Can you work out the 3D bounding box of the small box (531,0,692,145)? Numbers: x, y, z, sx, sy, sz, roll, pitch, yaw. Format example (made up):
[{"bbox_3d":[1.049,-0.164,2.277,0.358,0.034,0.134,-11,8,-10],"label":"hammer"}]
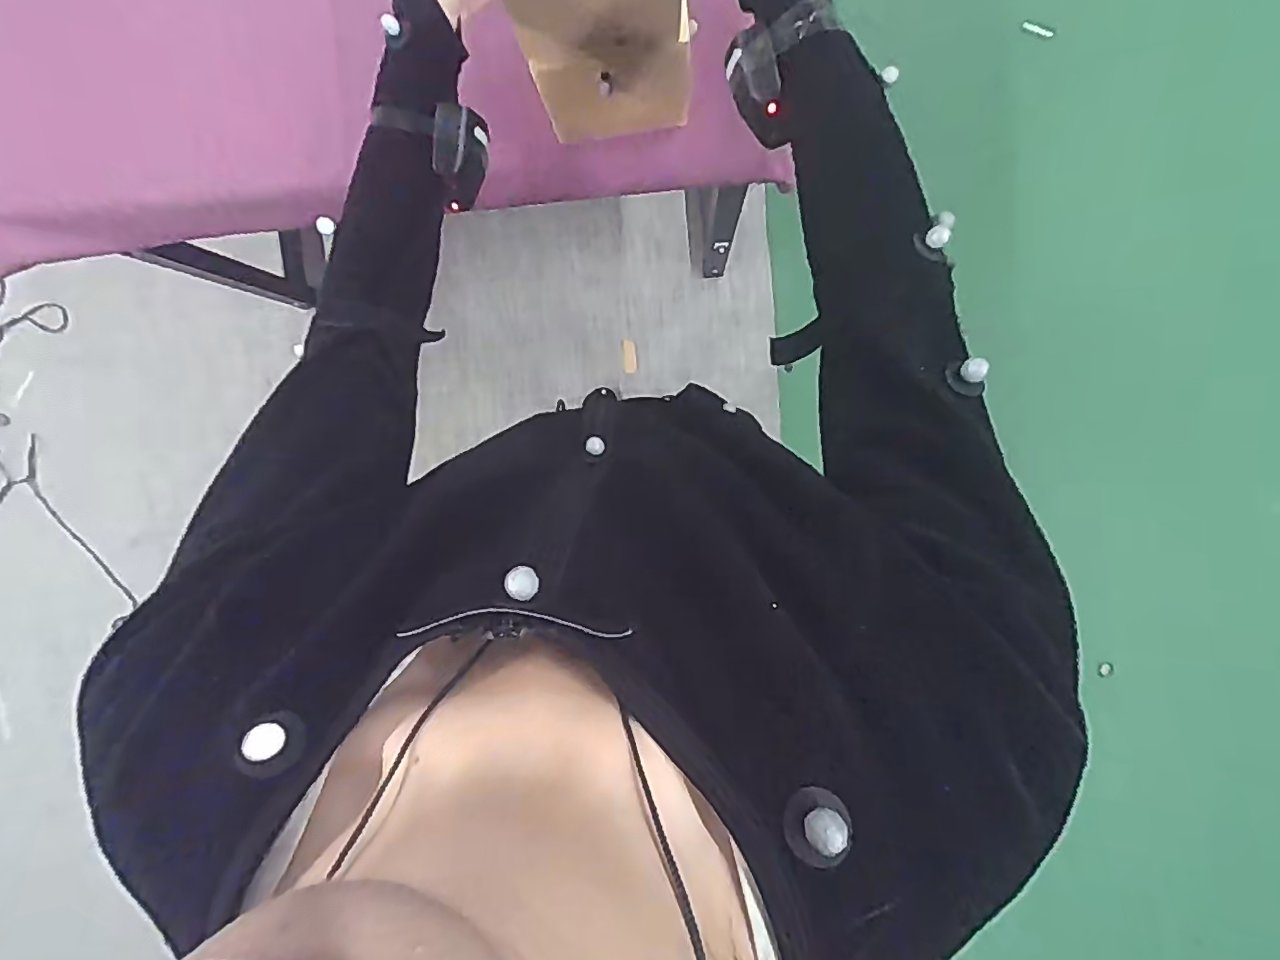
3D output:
[{"bbox_3d":[-0.032,-0.538,0.652,0.179,0.176,0.168,-6,97,7],"label":"small box"}]

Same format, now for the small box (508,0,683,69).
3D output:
[{"bbox_3d":[-0.047,-0.518,0.484,0.168,0.176,0.179,-3,99,5],"label":"small box"}]
